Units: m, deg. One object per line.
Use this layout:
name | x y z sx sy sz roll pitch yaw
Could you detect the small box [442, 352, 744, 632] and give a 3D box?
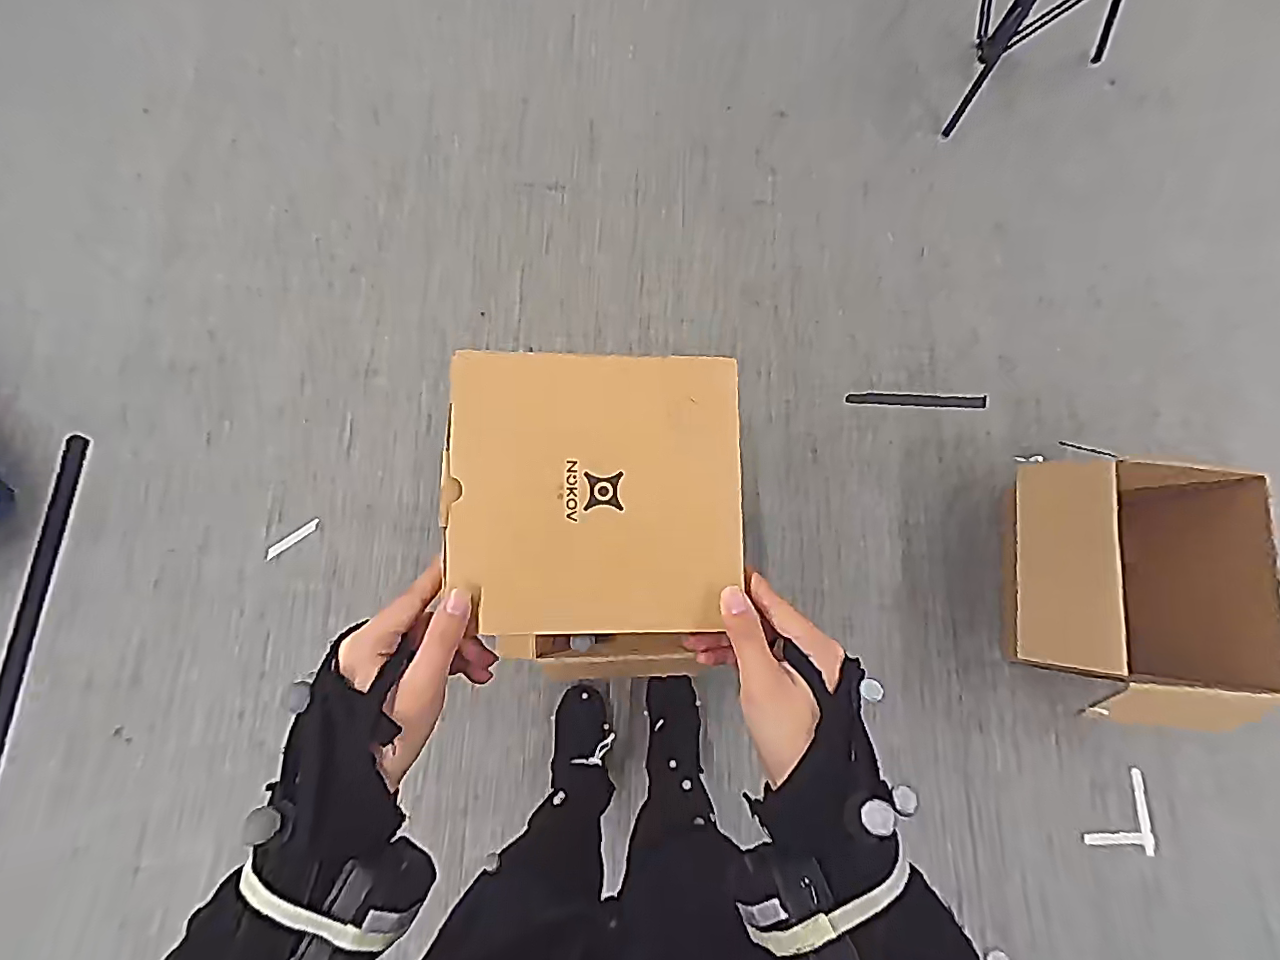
small box | -0.031 0.015 0.398 0.179 0.176 0.168 0 83 -3
